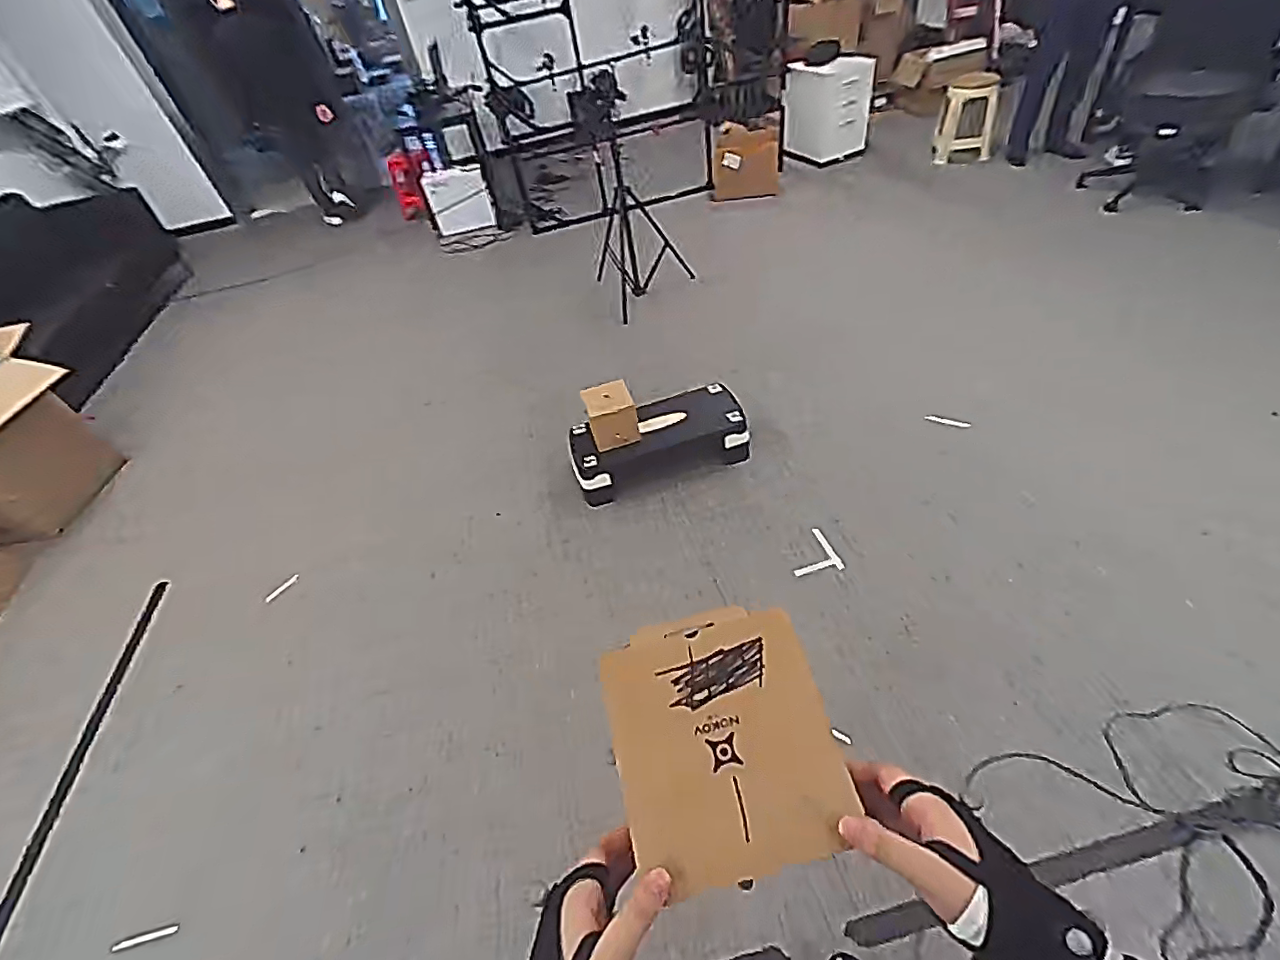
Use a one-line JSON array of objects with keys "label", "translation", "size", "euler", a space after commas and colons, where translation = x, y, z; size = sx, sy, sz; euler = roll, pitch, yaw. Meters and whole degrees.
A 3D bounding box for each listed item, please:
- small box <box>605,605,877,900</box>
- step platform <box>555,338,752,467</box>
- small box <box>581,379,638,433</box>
[{"label": "small box", "translation": [0.071, 0.236, 0.477], "size": [0.168, 0.176, 0.179], "euler": [-13, 59, -3]}, {"label": "step platform", "translation": [0.051, -0.280, 1.951], "size": [0.684, 0.204, 0.286], "euler": [-17, 45, -5]}, {"label": "small box", "translation": [-0.113, -0.240, 1.996], "size": [0.168, 0.176, 0.179], "euler": [-17, 45, -5]}]
